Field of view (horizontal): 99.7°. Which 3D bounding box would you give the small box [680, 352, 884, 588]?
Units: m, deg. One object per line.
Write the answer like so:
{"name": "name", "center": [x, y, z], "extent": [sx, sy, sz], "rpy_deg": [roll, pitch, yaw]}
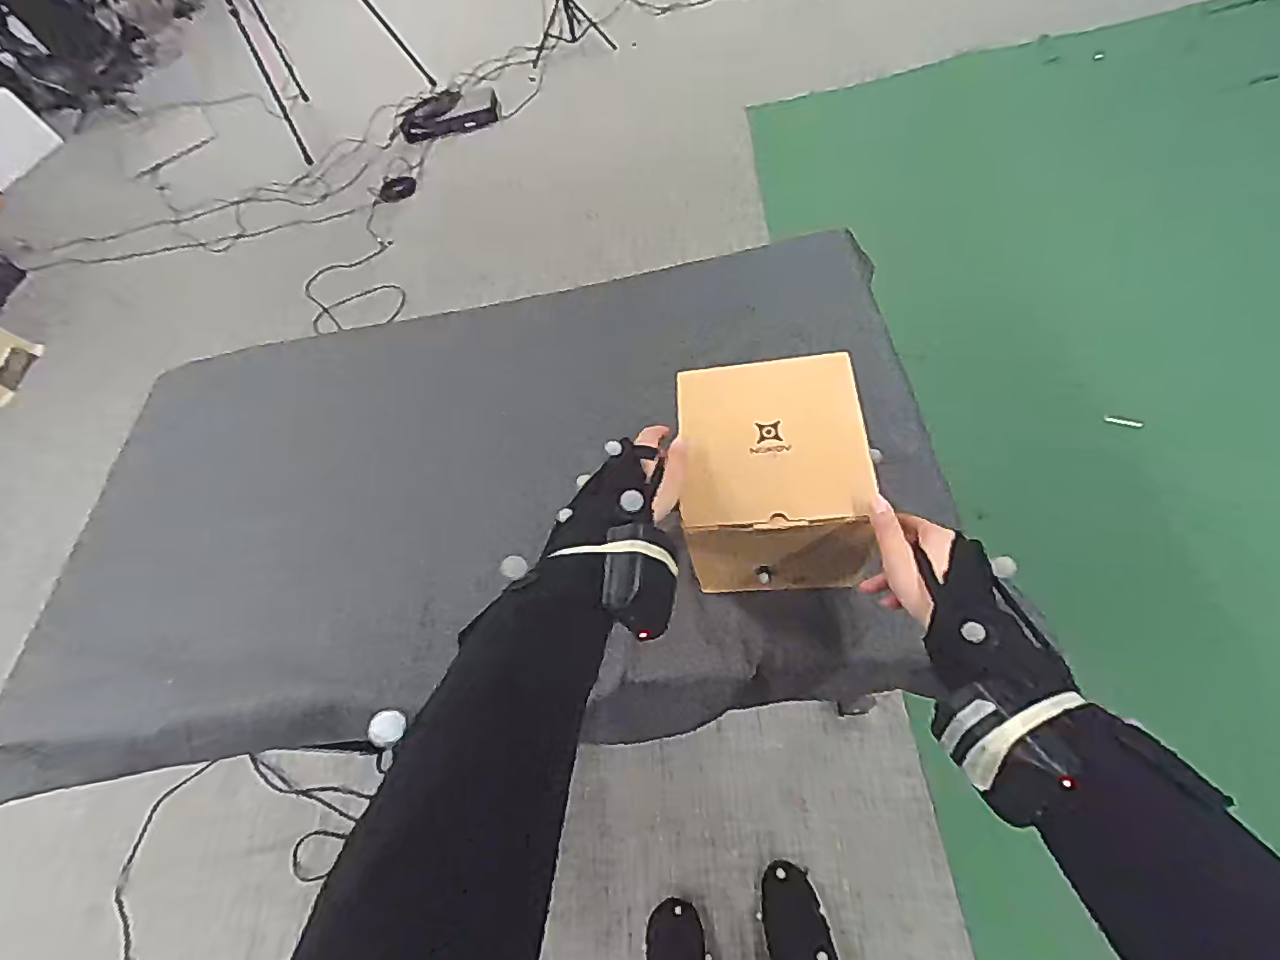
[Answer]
{"name": "small box", "center": [0.132, -0.002, 0.553], "extent": [0.168, 0.176, 0.179], "rpy_deg": [-5, 60, 11]}
